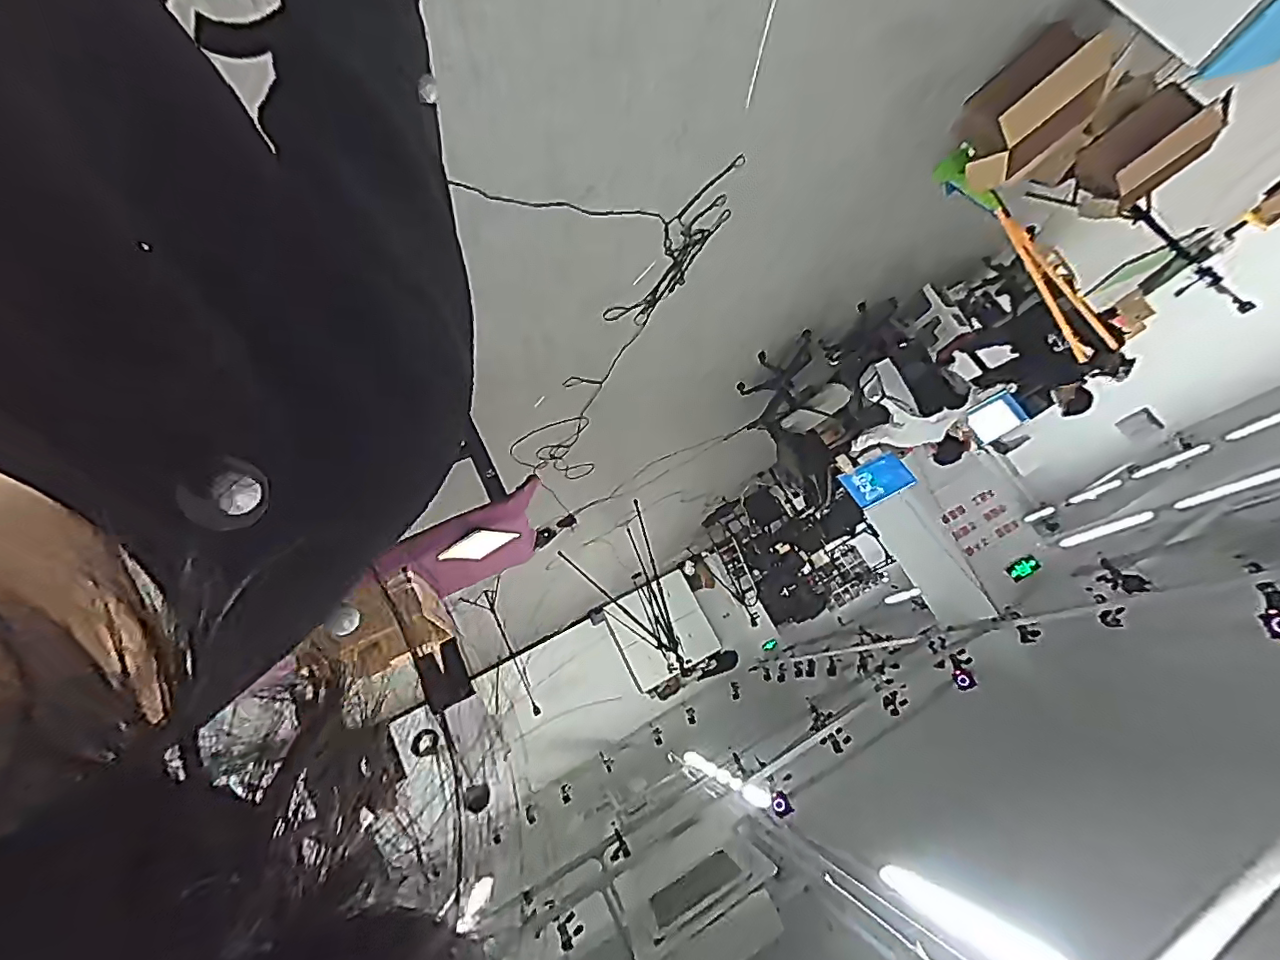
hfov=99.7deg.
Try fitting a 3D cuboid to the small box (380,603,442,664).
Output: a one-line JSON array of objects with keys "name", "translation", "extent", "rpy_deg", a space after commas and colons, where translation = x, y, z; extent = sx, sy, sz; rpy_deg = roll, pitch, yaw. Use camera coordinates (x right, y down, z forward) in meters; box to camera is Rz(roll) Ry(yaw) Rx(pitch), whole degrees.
[{"name": "small box", "translation": [-0.916, 0.610, 2.161], "extent": [0.168, 0.176, 0.179], "rpy_deg": [-24, 161, -17]}]
